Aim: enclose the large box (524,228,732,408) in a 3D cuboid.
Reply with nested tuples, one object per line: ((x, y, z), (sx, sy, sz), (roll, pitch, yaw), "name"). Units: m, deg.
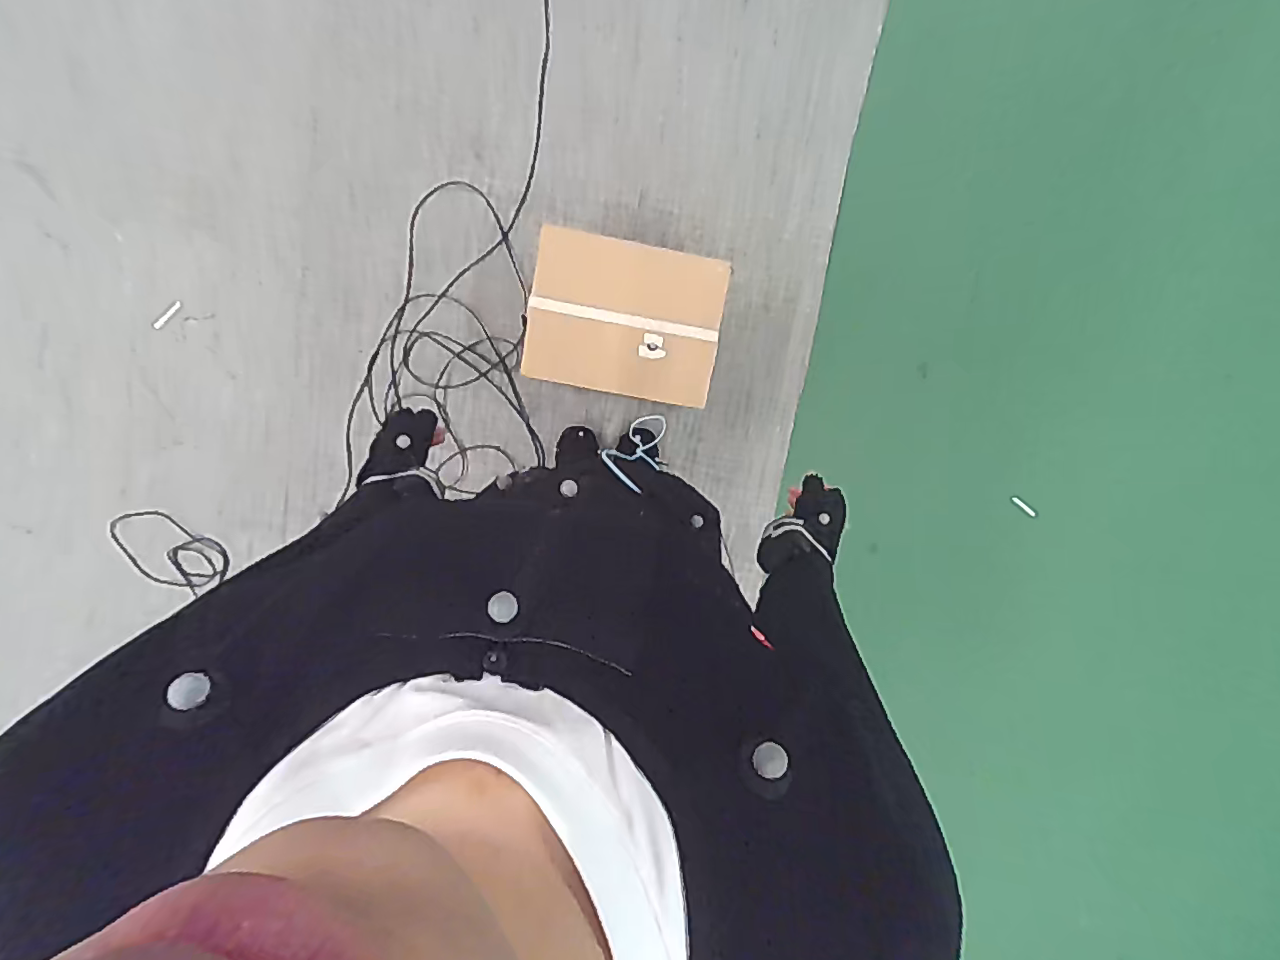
((-0.035, -0.357, 1.284), (0.408, 0.320, 0.320), (10, 98, -4), "large box")
